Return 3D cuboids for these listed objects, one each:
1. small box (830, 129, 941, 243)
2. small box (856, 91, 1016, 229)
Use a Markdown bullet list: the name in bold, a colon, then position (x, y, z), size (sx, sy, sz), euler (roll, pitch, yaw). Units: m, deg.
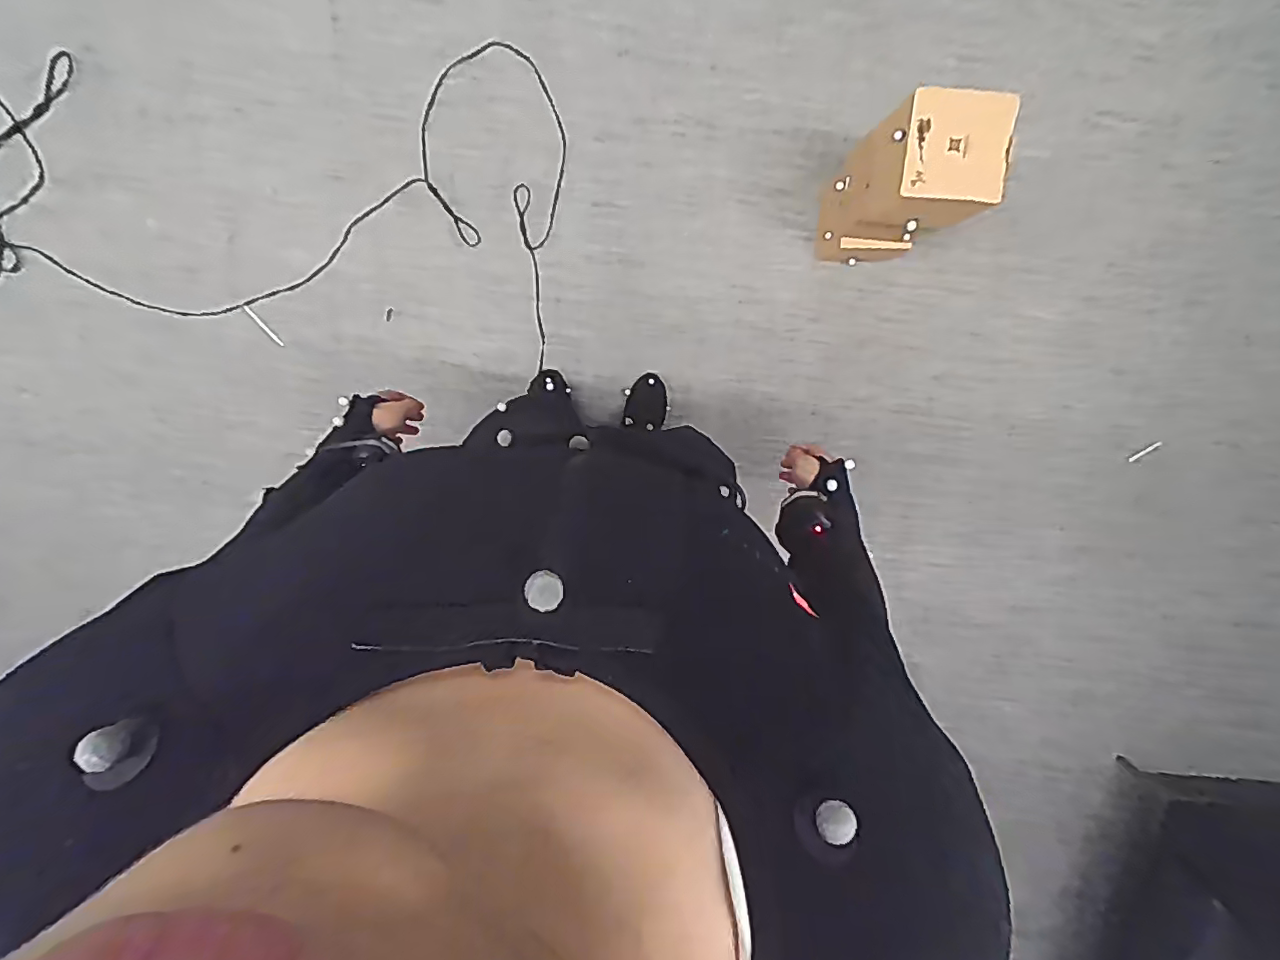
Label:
- **small box**: position (0.522, -0.604, 1.132), size (0.179, 0.176, 0.168), euler (4, 102, -1)
- **small box**: position (0.520, -0.562, 0.973), size (0.179, 0.176, 0.168), euler (4, 102, -3)
